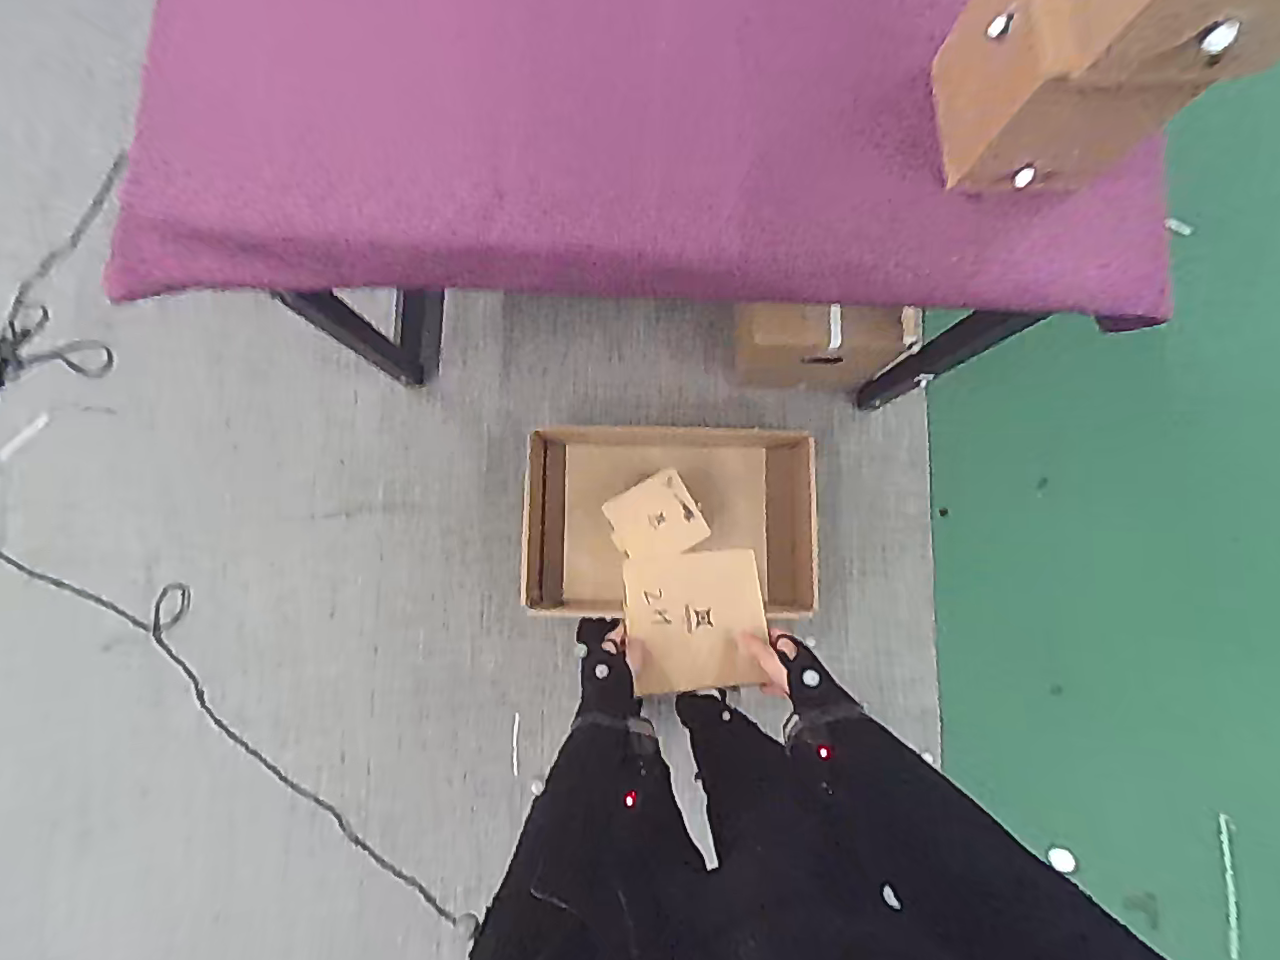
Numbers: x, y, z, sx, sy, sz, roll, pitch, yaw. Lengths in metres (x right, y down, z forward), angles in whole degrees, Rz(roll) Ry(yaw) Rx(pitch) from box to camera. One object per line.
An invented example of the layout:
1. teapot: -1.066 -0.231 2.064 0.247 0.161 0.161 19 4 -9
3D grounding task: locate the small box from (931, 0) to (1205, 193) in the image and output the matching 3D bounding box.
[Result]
1. small box: 0.429 -0.434 0.565 0.168 0.176 0.179 -2 82 1

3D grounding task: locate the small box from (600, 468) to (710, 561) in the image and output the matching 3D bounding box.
1. small box: 0.032 0.095 1.182 0.179 0.176 0.168 -29 84 -3

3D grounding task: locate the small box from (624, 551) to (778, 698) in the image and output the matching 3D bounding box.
1. small box: 0.069 0.202 0.736 0.179 0.176 0.168 -5 67 -2
